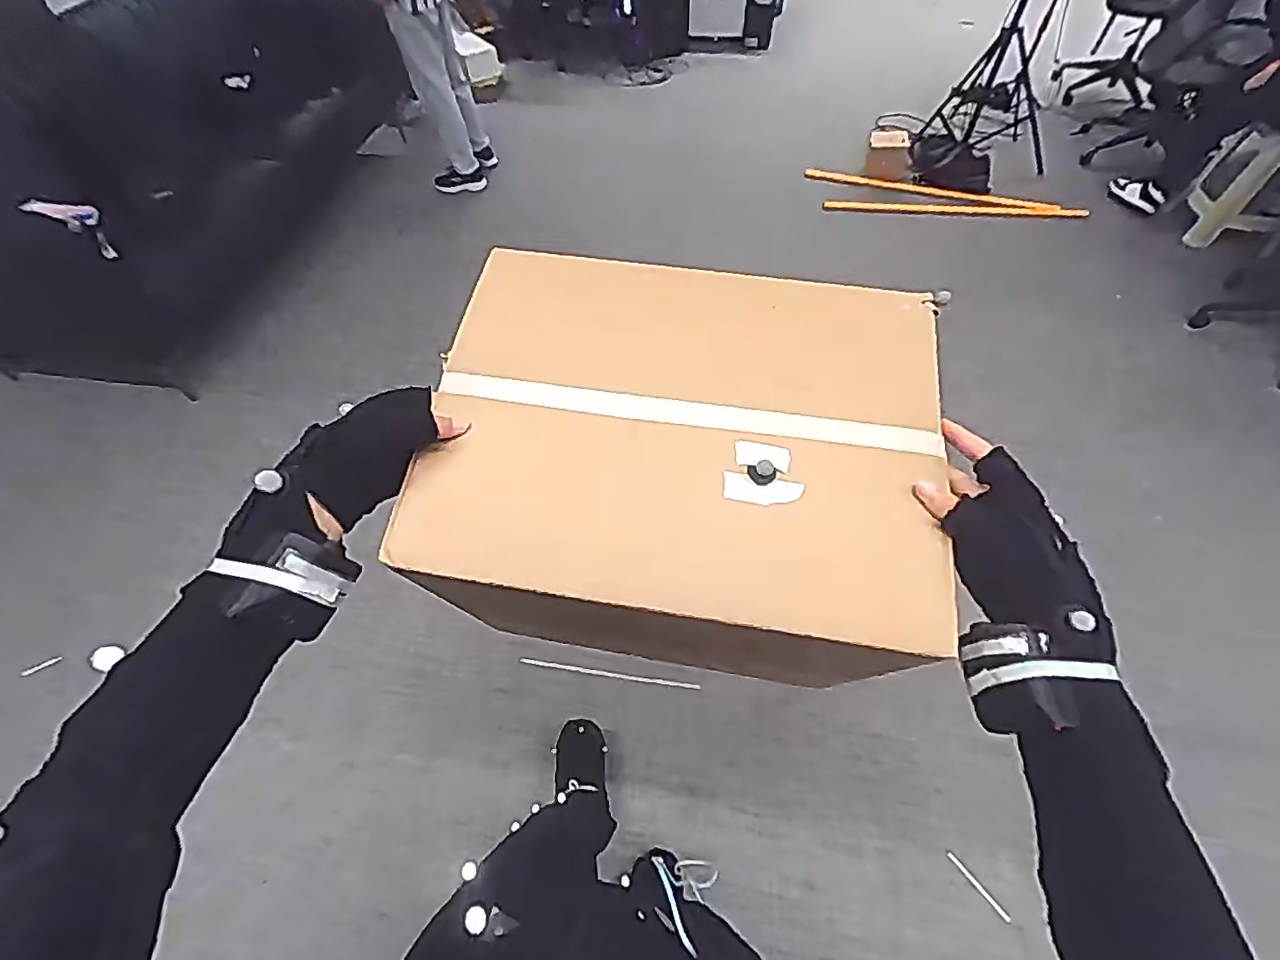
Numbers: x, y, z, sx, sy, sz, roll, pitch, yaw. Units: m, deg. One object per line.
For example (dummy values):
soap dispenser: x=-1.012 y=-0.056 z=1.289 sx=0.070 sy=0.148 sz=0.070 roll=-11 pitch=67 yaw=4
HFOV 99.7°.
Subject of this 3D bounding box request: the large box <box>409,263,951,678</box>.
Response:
large box: x=0.043 y=0.012 z=0.585 sx=0.408 sy=0.320 sz=0.320 roll=8 pitch=66 yaw=4
